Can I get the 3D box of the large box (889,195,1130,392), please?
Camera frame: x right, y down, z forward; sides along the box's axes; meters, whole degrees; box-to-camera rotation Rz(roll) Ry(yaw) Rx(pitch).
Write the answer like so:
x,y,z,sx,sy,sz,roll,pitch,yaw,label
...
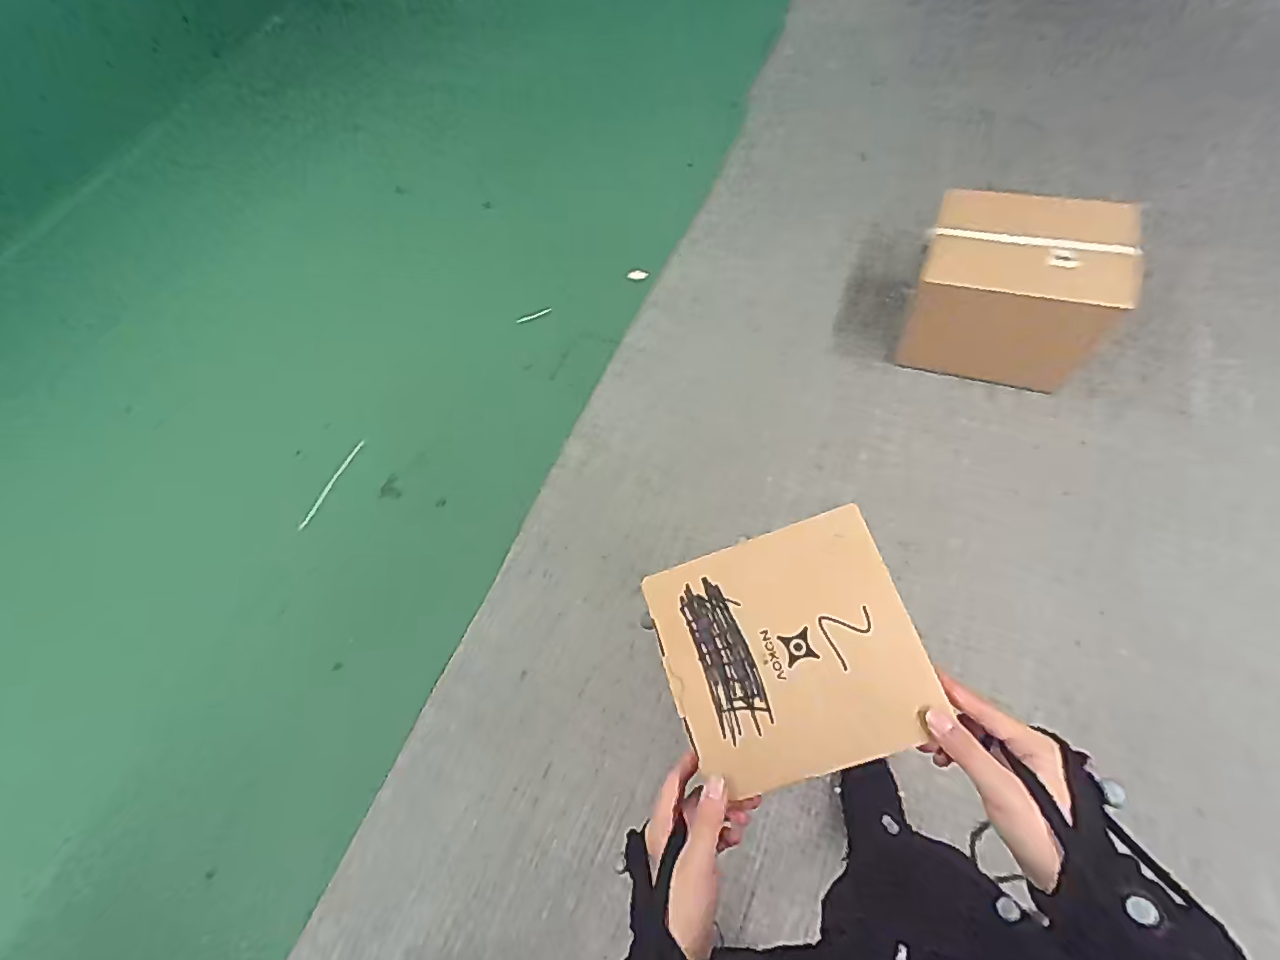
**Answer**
x,y,z,sx,sy,sz,roll,pitch,yaw,label
0.891,-0.460,1.353,0.408,0.320,0.320,16,69,17,large box
